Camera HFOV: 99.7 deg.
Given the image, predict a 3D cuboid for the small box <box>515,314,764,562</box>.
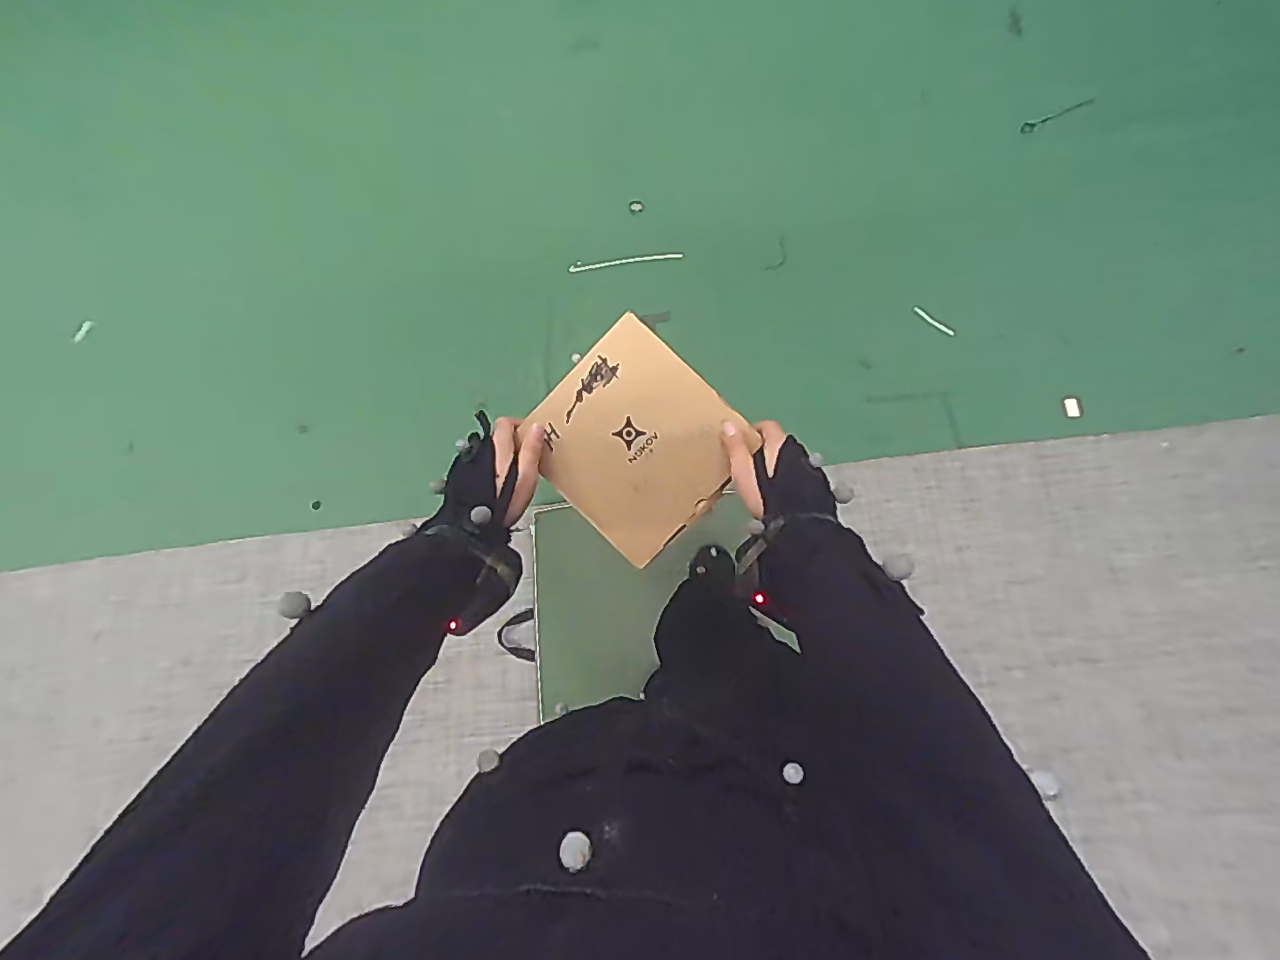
[{"bbox_3d":[0.003,-0.041,0.579,0.179,0.176,0.168,44,92,2],"label":"small box"}]
